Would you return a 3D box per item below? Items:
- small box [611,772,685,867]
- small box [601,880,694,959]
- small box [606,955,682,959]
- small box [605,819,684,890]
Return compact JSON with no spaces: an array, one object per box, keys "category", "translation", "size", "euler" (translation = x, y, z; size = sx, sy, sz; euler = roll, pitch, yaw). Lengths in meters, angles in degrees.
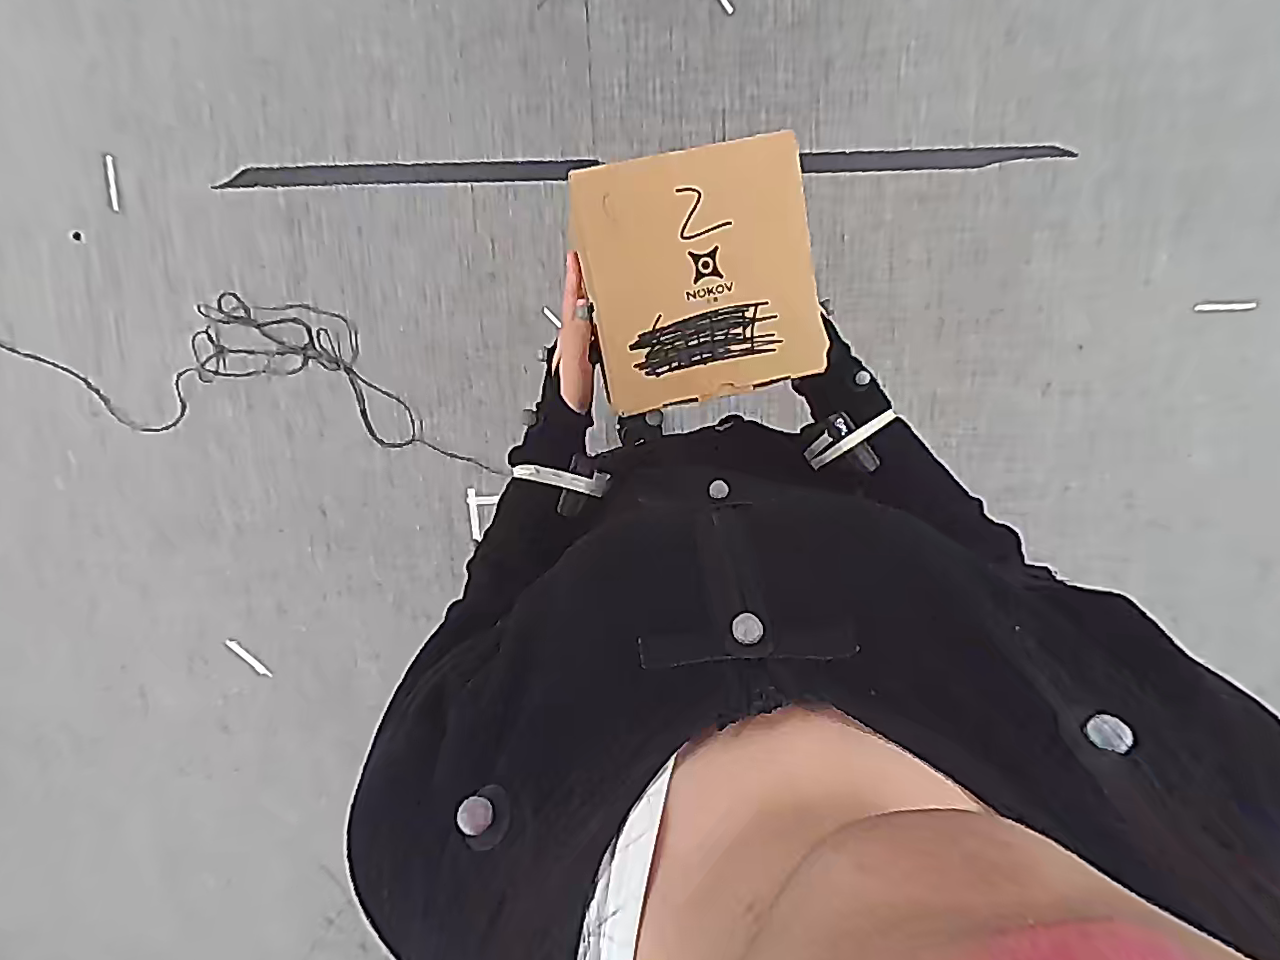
[{"category":"small box","translation":[0.015,0.856,1.349],"size":[0.179,0.176,0.168],"euler":[0,96,0]},{"category":"small box","translation":[0.011,0.899,1.024],"size":[0.168,0.176,0.179],"euler":[-1,97,0]},{"category":"small box","translation":[0.009,0.918,0.863],"size":[0.168,0.176,0.179],"euler":[-3,96,-1]},{"category":"small box","translation":[0.007,0.878,1.187],"size":[0.168,0.176,0.179],"euler":[0,96,0]}]
